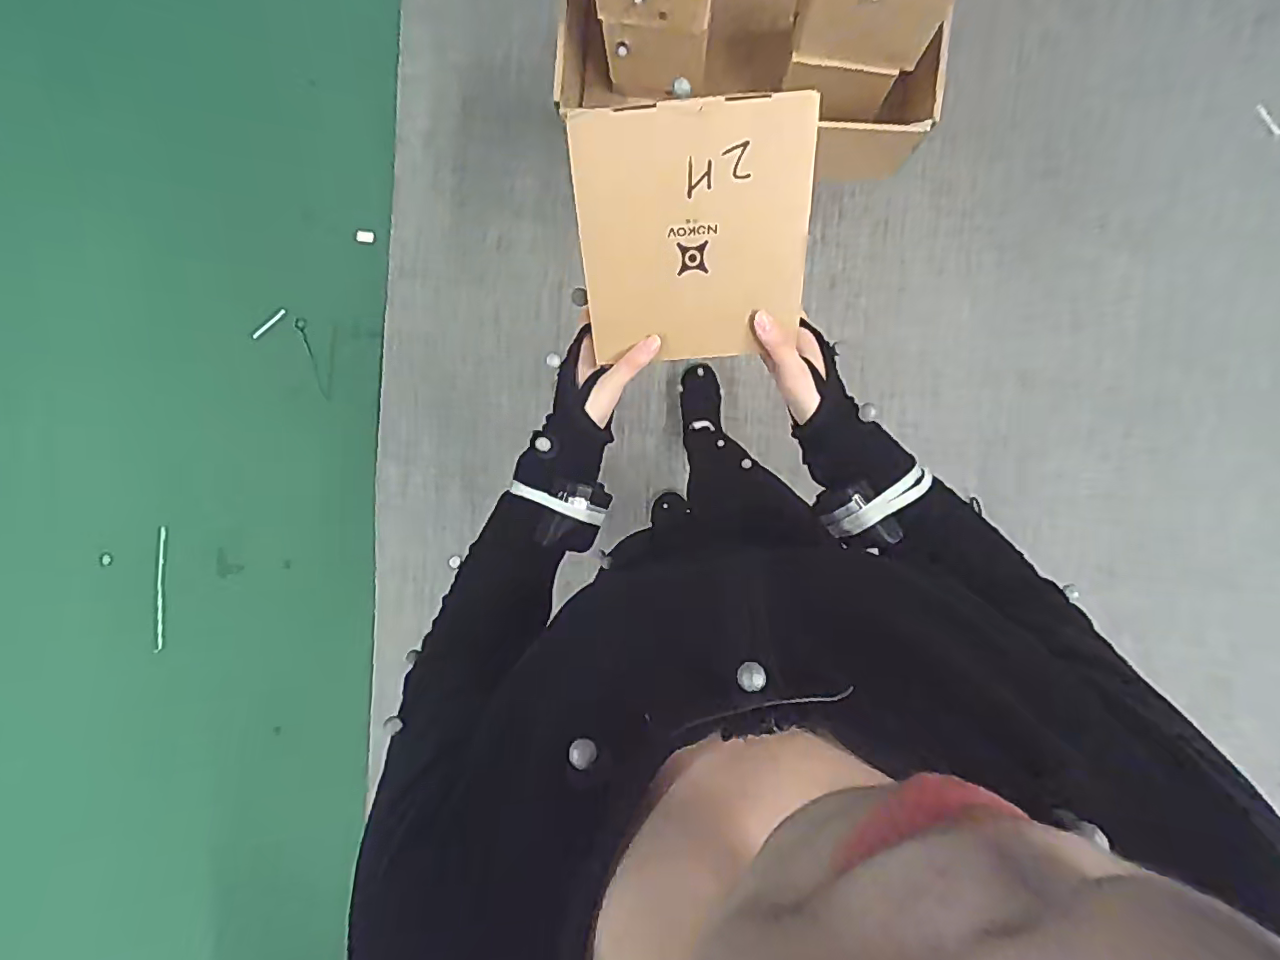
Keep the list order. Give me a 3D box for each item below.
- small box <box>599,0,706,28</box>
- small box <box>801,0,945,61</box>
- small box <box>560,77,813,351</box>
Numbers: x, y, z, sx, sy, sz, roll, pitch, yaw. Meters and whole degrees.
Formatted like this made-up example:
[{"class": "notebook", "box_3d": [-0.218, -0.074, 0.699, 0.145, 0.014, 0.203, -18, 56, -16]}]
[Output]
[{"class": "small box", "box_3d": [0.024, -0.784, 0.743, 0.168, 0.176, 0.179, 11, 93, 3]}, {"class": "small box", "box_3d": [0.332, -0.711, 0.727, 0.179, 0.176, 0.168, 11, 93, 3]}, {"class": "small box", "box_3d": [0.034, -0.226, 0.458, 0.168, 0.176, 0.179, -3, 124, 2]}]
